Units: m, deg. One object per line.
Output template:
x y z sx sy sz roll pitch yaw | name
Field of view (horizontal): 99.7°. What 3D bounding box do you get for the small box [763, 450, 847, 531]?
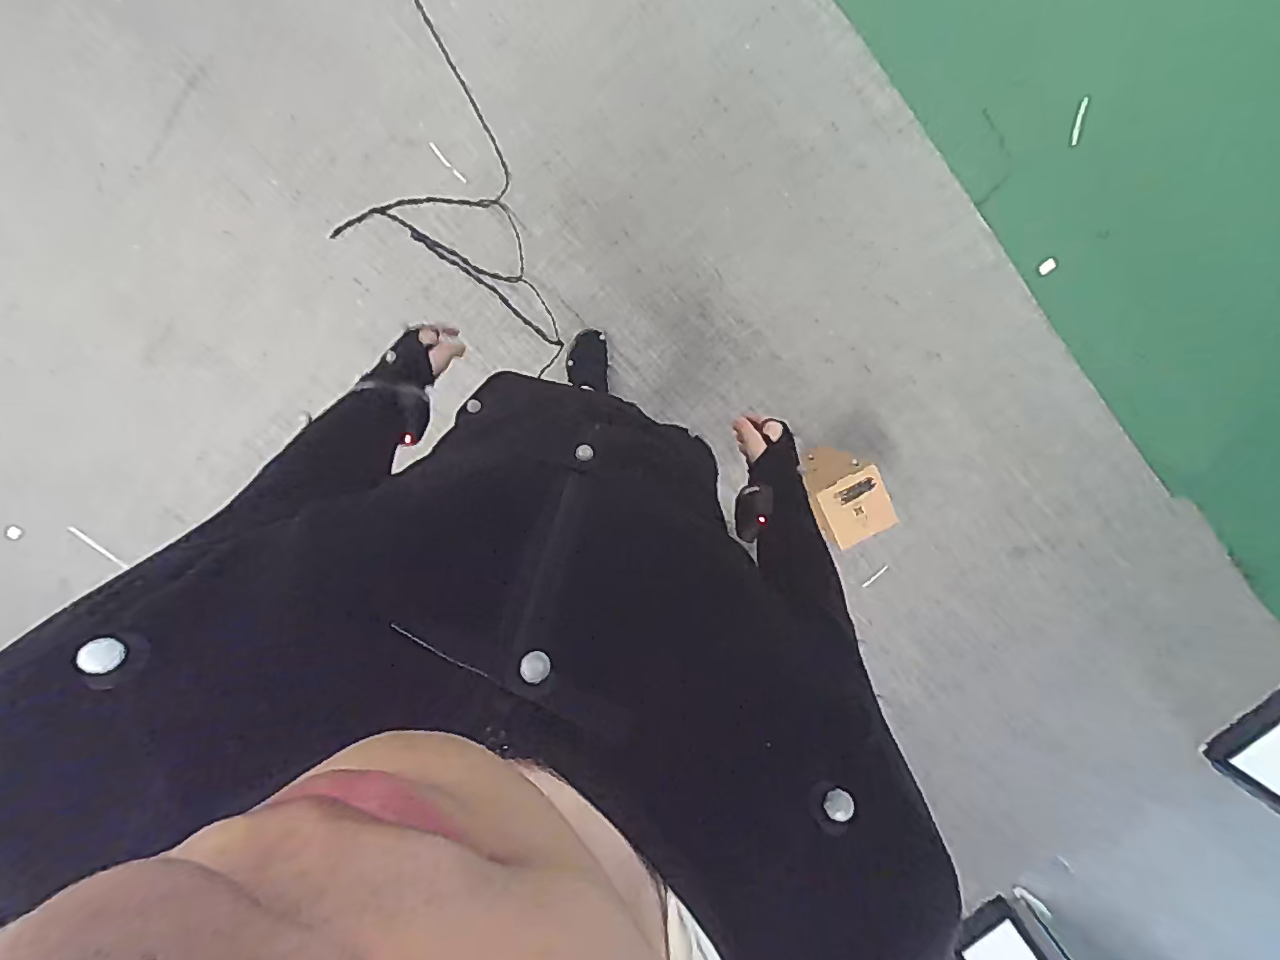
0.480 0.022 1.593 0.168 0.176 0.179 -21 106 2 | small box
